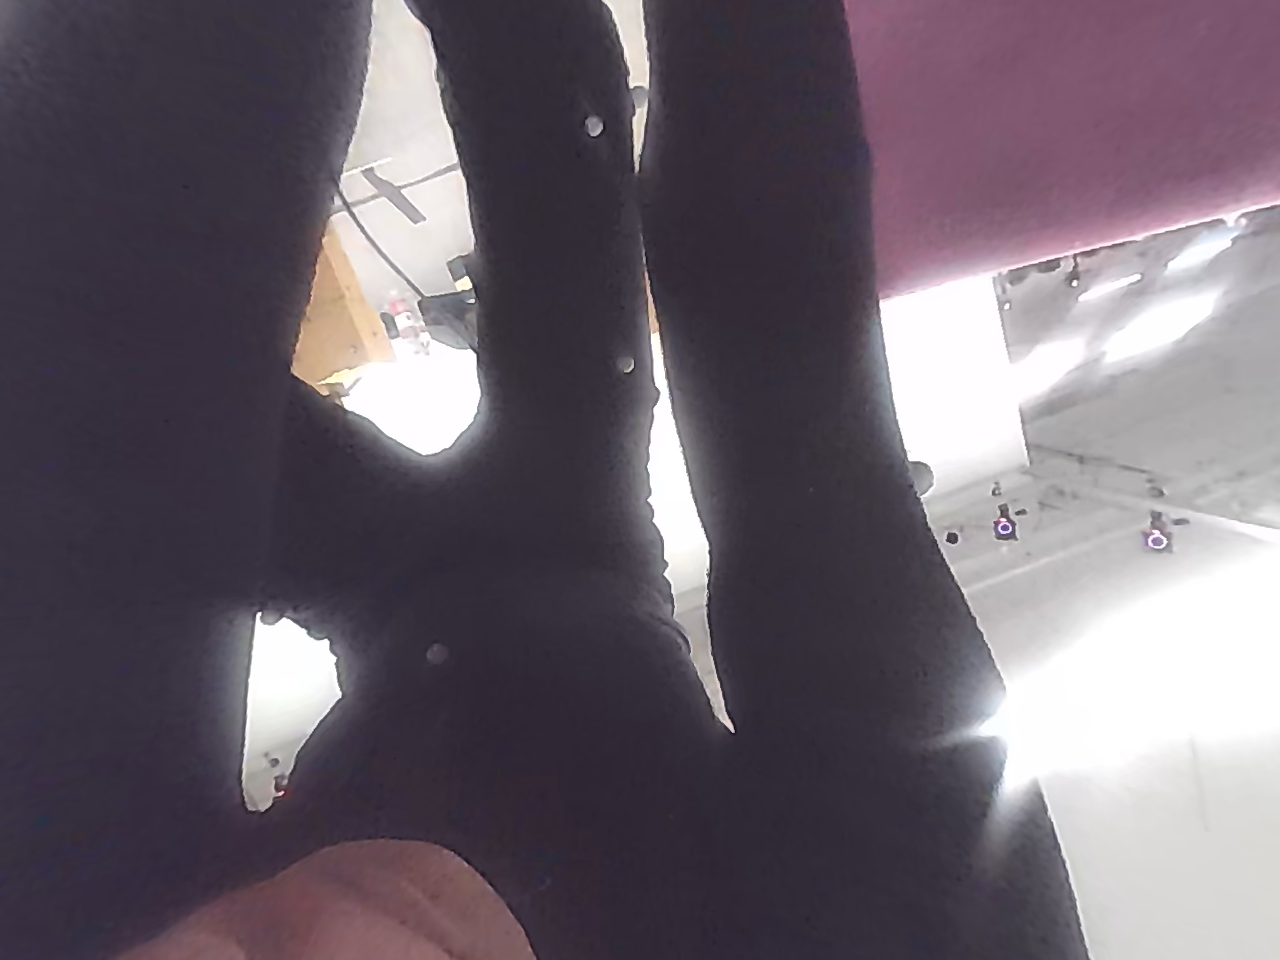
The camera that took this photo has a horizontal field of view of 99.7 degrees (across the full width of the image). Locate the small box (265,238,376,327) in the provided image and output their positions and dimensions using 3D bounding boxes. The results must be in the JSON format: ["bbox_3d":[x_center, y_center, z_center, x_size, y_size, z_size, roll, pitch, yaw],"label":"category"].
[{"bbox_3d":[-0.838,-0.520,1.432,0.168,0.176,0.179,-20,-169,-3],"label":"small box"}]
